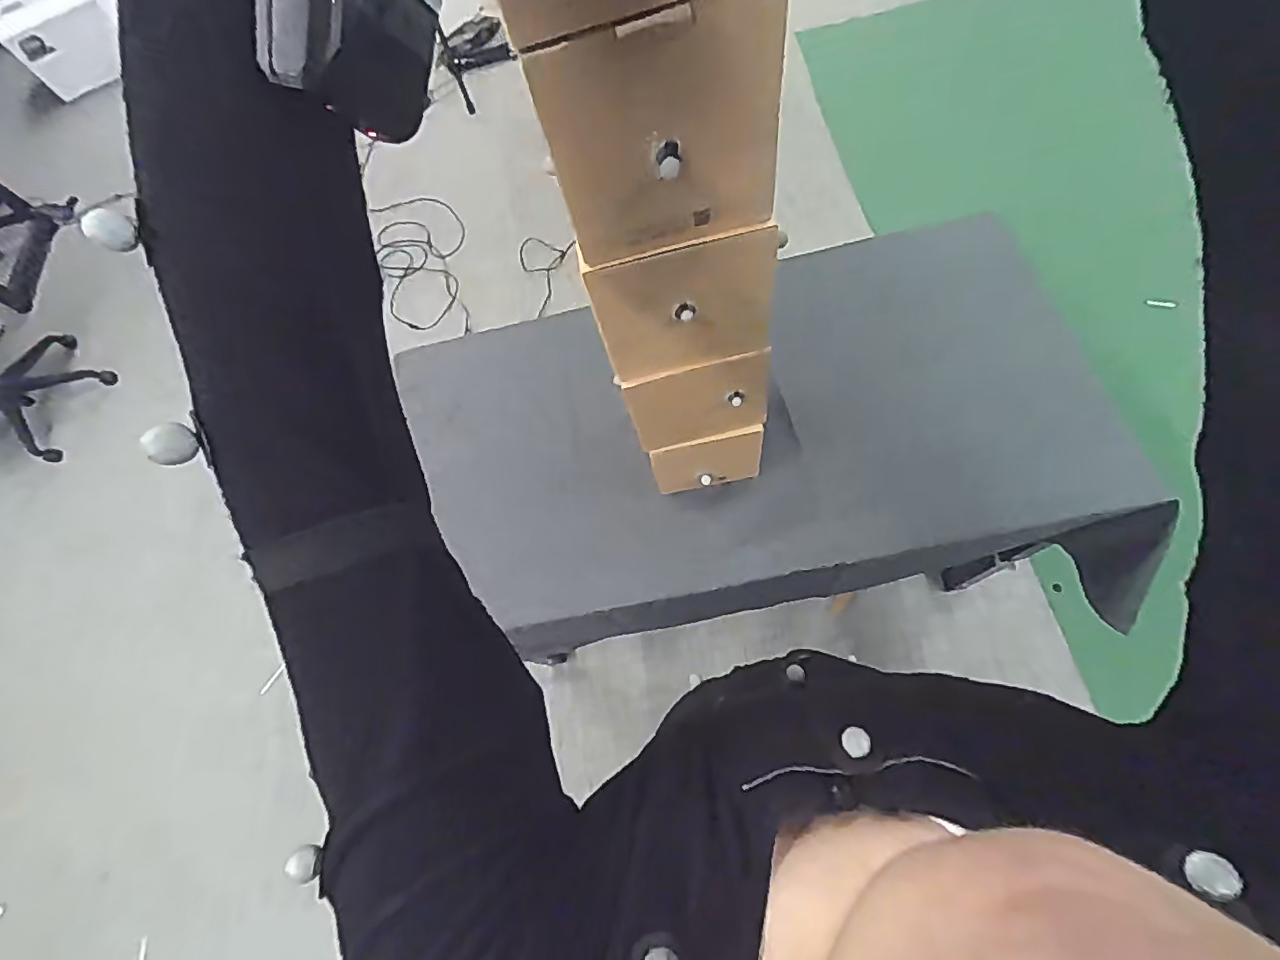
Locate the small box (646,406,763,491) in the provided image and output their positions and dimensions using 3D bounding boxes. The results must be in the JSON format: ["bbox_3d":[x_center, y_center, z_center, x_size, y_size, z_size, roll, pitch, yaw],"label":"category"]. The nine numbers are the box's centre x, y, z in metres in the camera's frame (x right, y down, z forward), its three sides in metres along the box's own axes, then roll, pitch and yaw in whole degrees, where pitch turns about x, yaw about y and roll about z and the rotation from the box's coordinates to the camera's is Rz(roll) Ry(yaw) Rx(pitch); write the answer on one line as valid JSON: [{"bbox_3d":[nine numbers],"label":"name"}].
[{"bbox_3d":[0.089,-0.103,0.851,0.168,0.176,0.179,-11,66,5],"label":"small box"}]

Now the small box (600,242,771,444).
[{"bbox_3d":[0.059,-0.168,0.704,0.179,0.176,0.168,-13,65,4],"label":"small box"}]

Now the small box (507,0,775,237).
[{"bbox_3d":[0.003,-0.316,0.418,0.168,0.176,0.179,-13,65,4],"label":"small box"}]
